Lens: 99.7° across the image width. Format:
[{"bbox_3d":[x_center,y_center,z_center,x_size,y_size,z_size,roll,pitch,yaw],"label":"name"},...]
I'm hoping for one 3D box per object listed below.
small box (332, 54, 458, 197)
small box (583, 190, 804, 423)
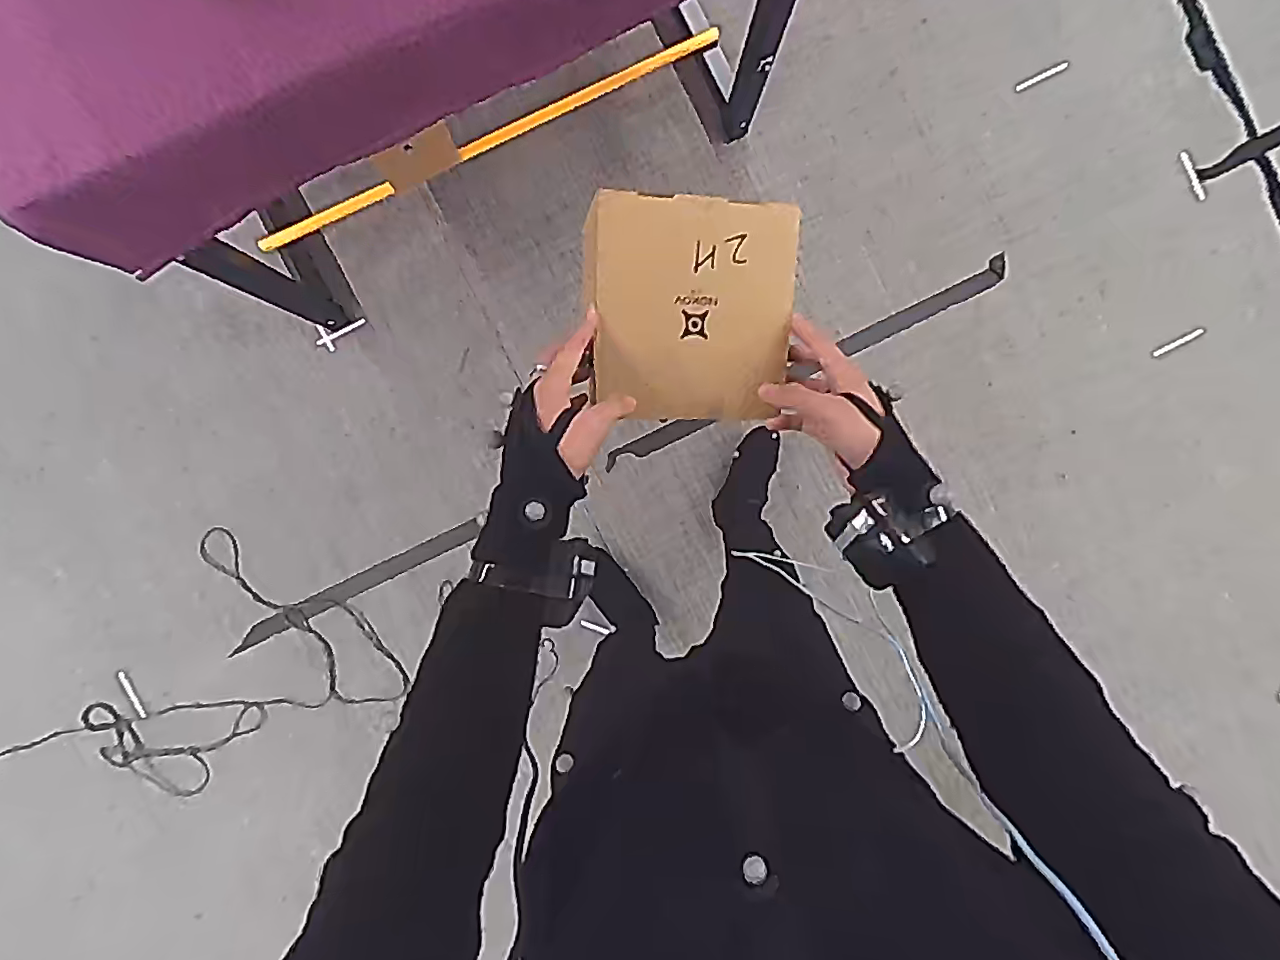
[{"bbox_3d":[-0.523,-0.770,1.193,0.179,0.176,0.168,-28,92,-1],"label":"small box"},{"bbox_3d":[0.035,-0.155,0.515,0.168,0.176,0.179,-1,105,-10],"label":"small box"}]
